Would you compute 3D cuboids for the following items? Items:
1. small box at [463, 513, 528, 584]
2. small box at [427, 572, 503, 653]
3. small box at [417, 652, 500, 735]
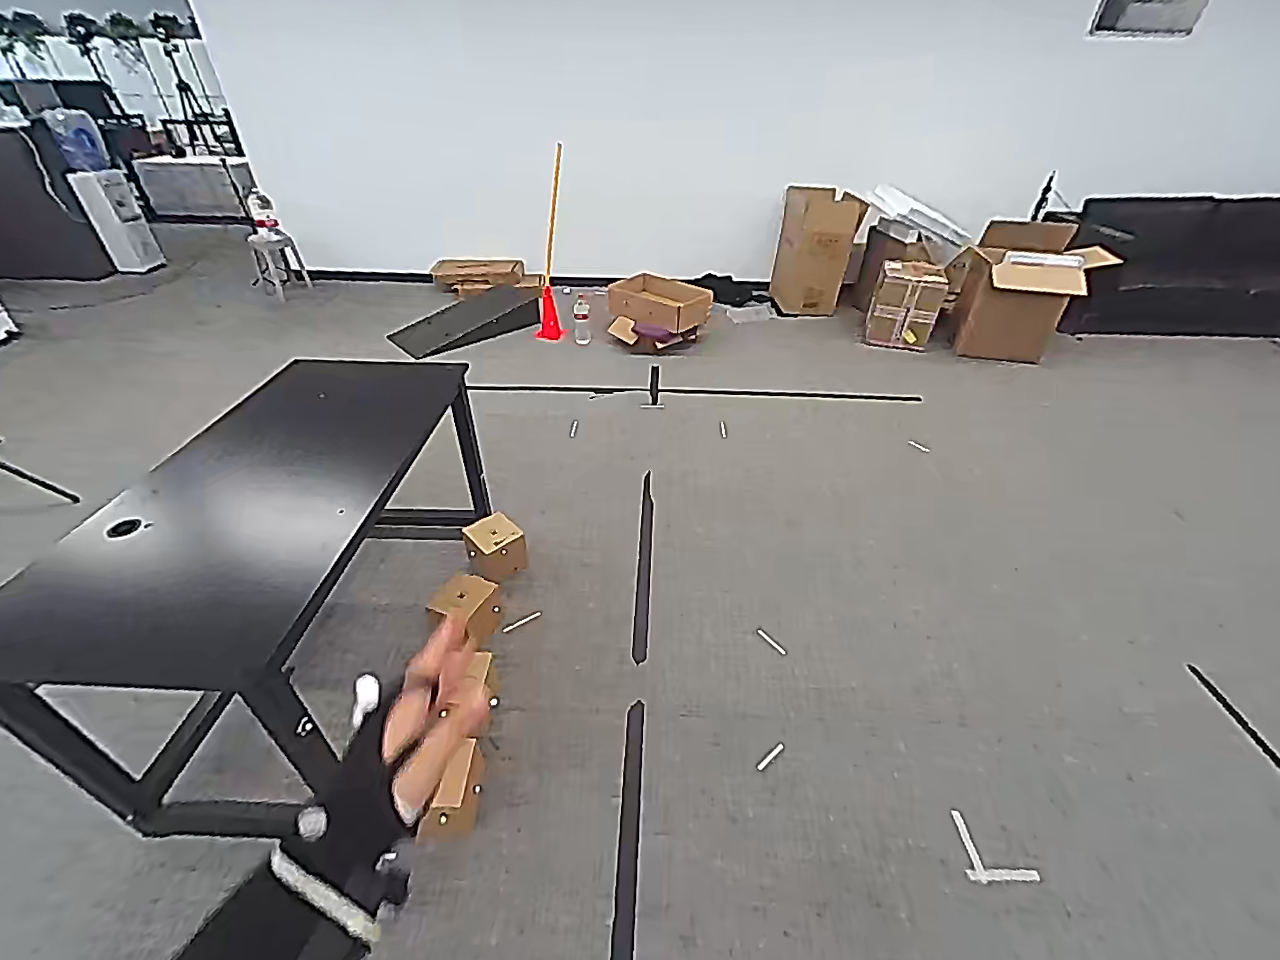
[{"bbox_3d":[-0.546,0.263,2.057,0.168,0.176,0.179,-31,47,-34],"label":"small box"},{"bbox_3d":[-0.579,0.447,1.818,0.168,0.176,0.179,14,40,18],"label":"small box"},{"bbox_3d":[-0.522,0.625,1.582,0.179,0.176,0.168,2,37,-1],"label":"small box"}]
